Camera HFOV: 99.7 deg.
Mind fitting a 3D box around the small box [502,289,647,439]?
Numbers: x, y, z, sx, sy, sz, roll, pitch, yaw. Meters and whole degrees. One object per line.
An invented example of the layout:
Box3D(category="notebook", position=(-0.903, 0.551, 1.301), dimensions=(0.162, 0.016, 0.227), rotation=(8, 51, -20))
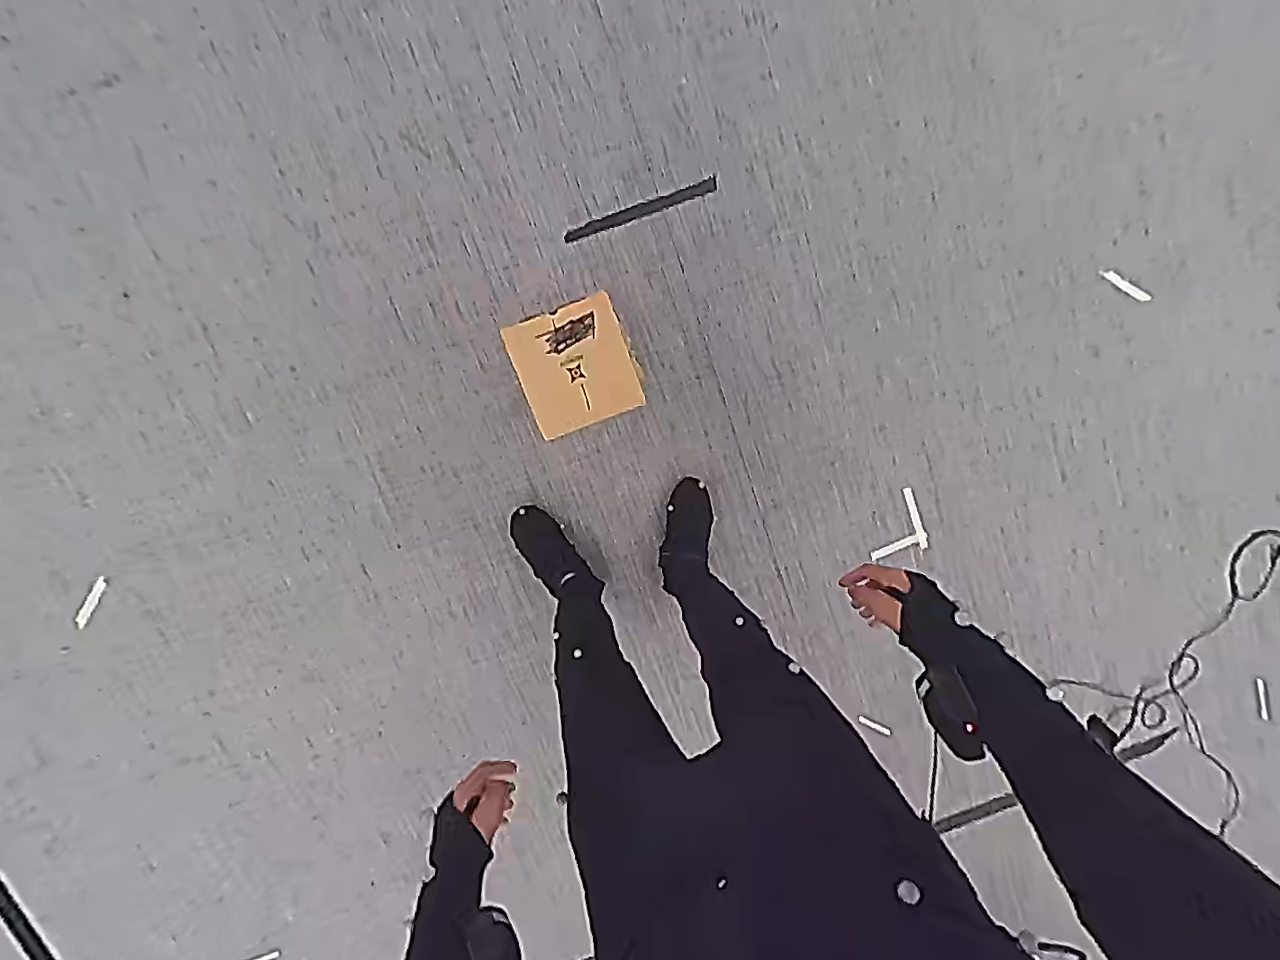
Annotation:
Box3D(category="small box", position=(-0.101, -0.178, 0.861), dimensions=(0.168, 0.176, 0.179), rotation=(-21, 101, -1))
